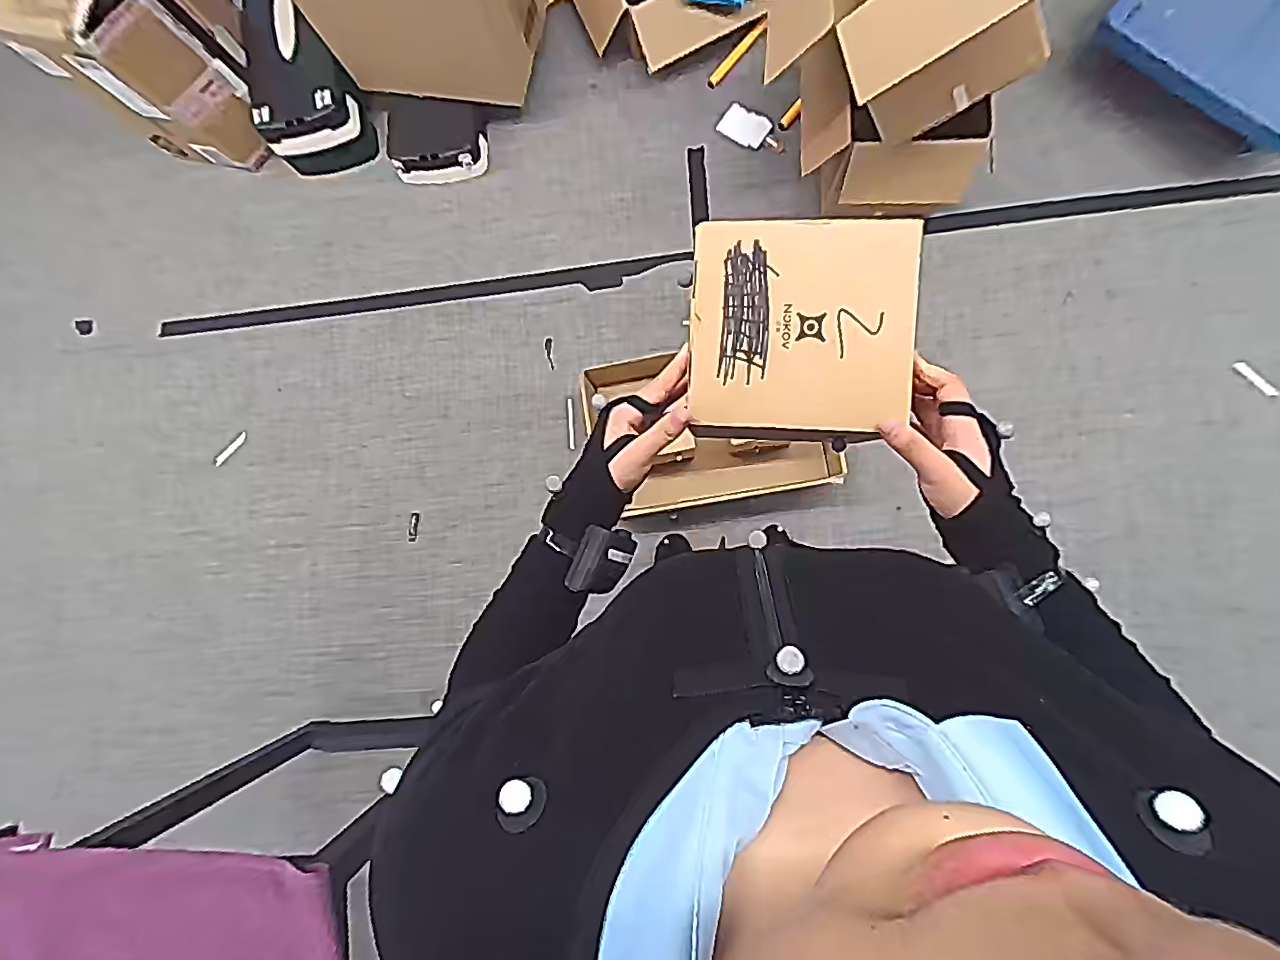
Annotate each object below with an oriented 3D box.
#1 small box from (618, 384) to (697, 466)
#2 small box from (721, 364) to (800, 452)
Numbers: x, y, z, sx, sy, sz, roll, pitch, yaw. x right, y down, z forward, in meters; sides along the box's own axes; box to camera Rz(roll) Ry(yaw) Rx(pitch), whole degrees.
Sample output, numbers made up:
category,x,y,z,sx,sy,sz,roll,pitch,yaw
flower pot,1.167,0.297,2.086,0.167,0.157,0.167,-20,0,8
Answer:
category,x,y,z,sx,sy,sz,roll,pitch,yaw
small box,0.048,-0.138,1.418,0.179,0.176,0.168,-11,83,4
small box,0.303,-0.180,1.397,0.168,0.176,0.179,-9,84,6
